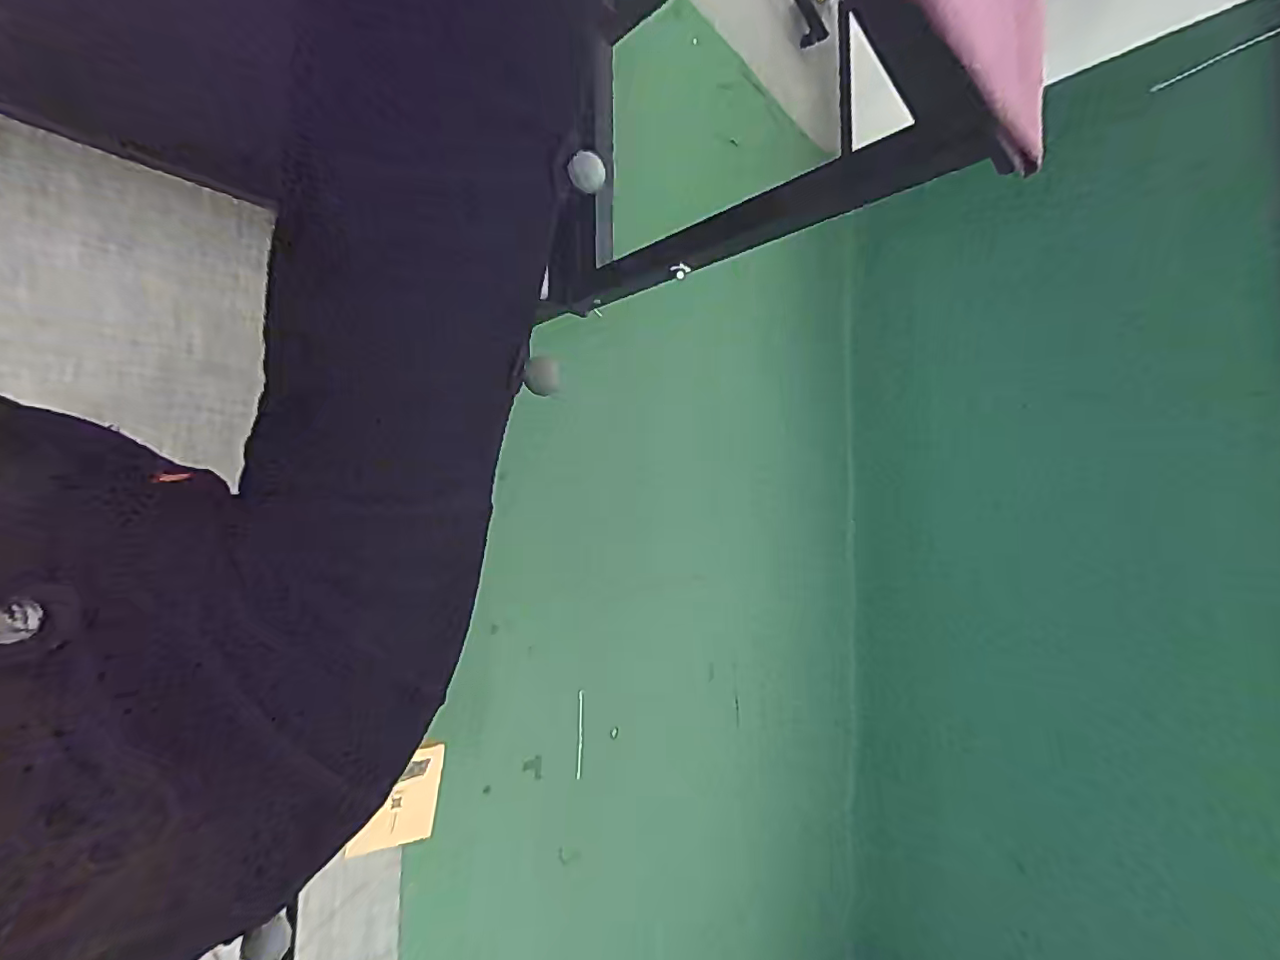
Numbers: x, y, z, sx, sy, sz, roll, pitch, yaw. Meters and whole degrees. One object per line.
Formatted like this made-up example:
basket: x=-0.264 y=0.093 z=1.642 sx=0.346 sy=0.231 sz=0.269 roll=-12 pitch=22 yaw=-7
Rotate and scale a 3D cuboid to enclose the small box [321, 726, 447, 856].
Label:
small box: x=-0.516 y=0.607 z=1.087 sx=0.168 sy=0.176 sz=0.179 roll=17 pitch=76 yaw=-45
